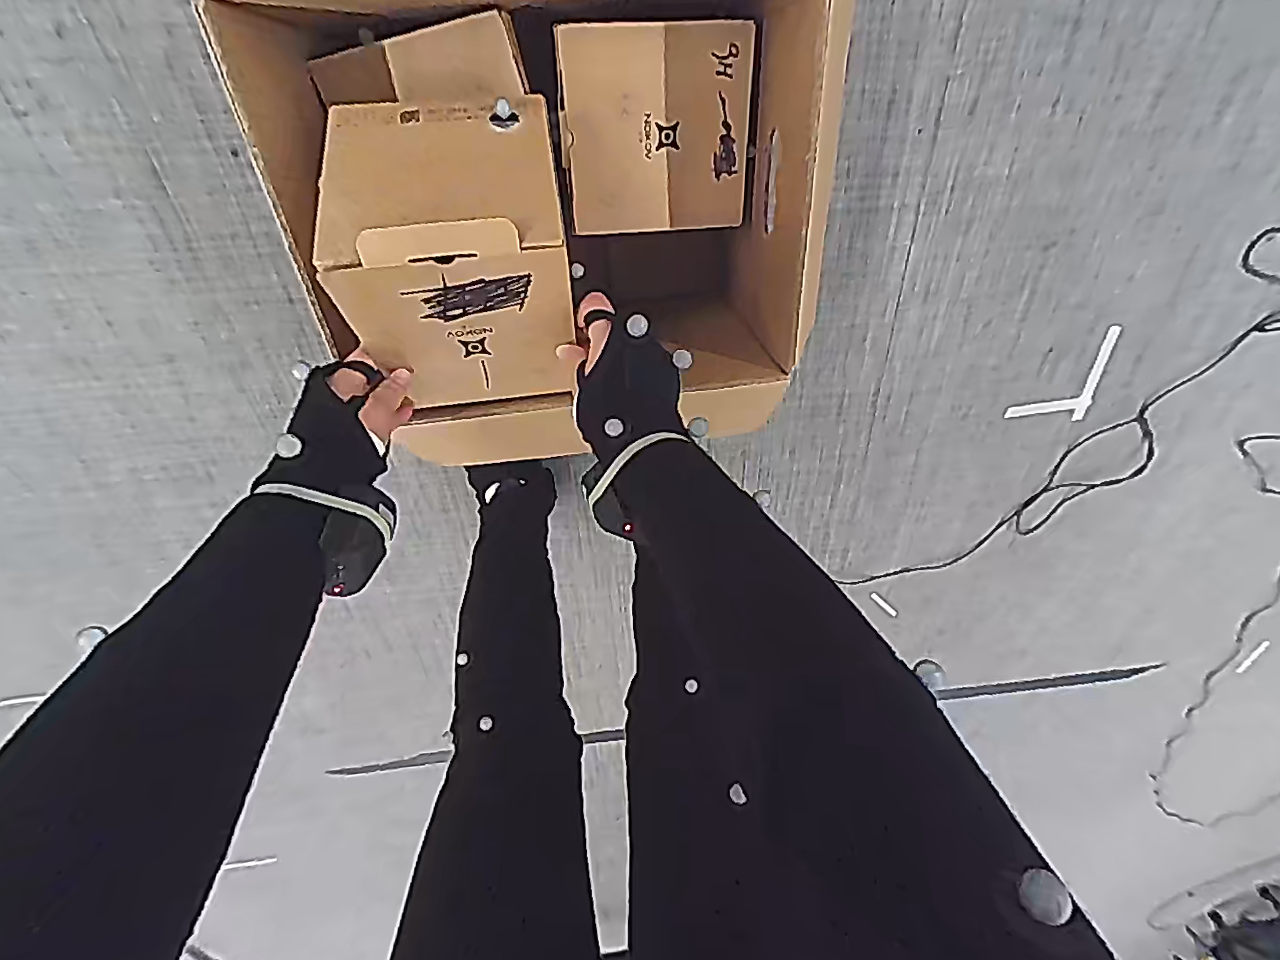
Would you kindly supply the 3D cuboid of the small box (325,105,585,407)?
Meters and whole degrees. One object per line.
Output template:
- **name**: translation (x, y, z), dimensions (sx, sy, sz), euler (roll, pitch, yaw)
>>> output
- **small box**: translation (-0.141, -0.187, 0.459), dimensions (0.168, 0.176, 0.179), euler (-7, 156, -6)
